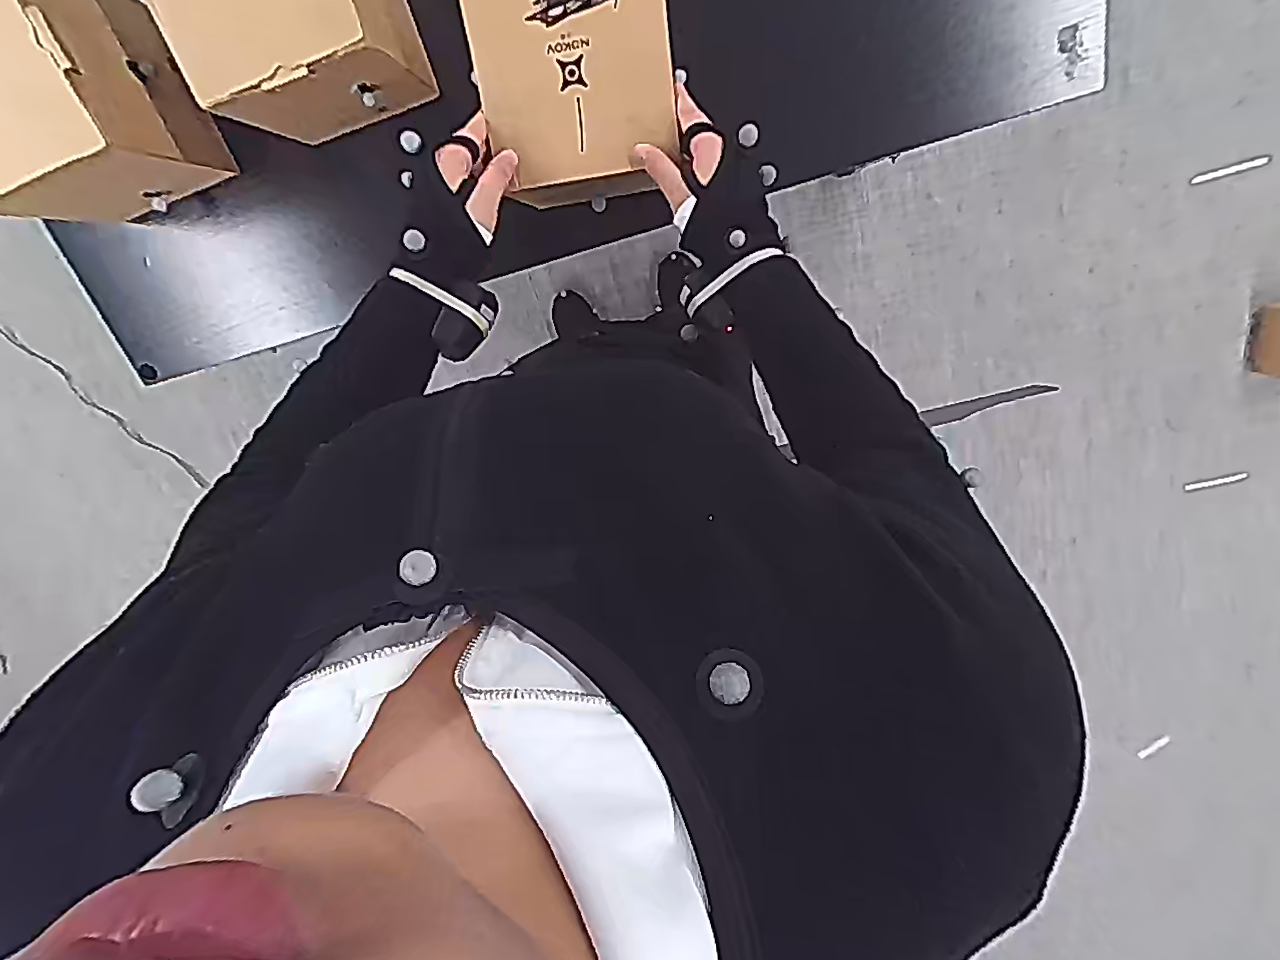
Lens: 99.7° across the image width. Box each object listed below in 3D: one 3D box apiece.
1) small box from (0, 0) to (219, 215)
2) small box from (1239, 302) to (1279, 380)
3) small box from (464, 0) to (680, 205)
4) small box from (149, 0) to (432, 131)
[{"bbox_3d":[-0.573,-0.379,0.536,0.179,0.176,0.168,-17,111,7],"label":"small box"},{"bbox_3d":[1.592,-0.336,1.280,0.168,0.176,0.179,-13,112,8],"label":"small box"},{"bbox_3d":[-0.054,-0.378,0.521,0.168,0.176,0.179,-6,113,4],"label":"small box"},{"bbox_3d":[-0.323,-0.451,0.501,0.168,0.176,0.179,-15,111,7],"label":"small box"}]
